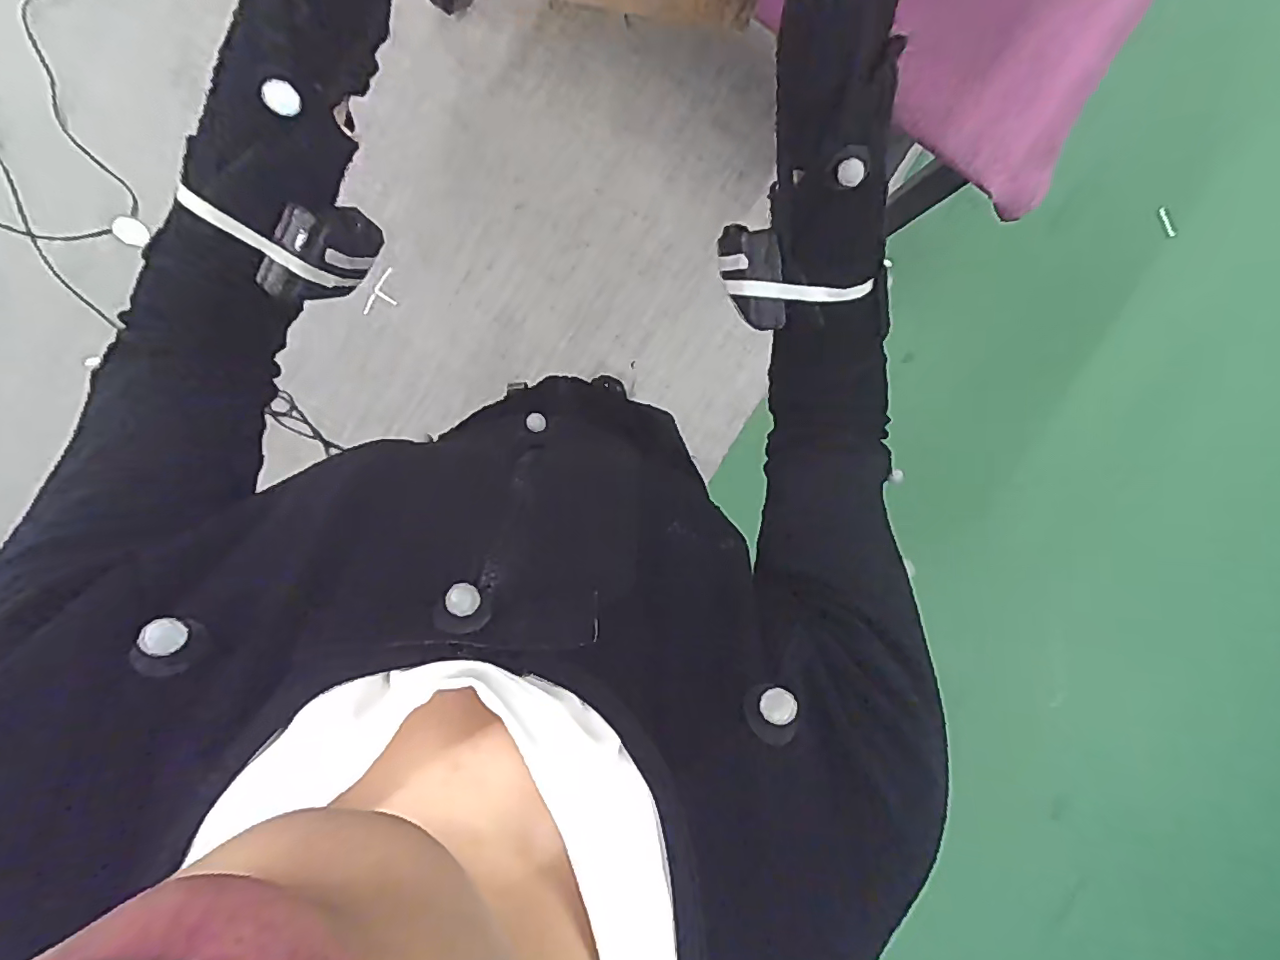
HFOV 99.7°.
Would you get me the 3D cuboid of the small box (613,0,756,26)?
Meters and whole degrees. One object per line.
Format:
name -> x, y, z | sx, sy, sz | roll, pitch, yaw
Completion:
small box -> 0.005, -0.373, 0.246 | 0.168, 0.176, 0.179 | 6, 86, -5
